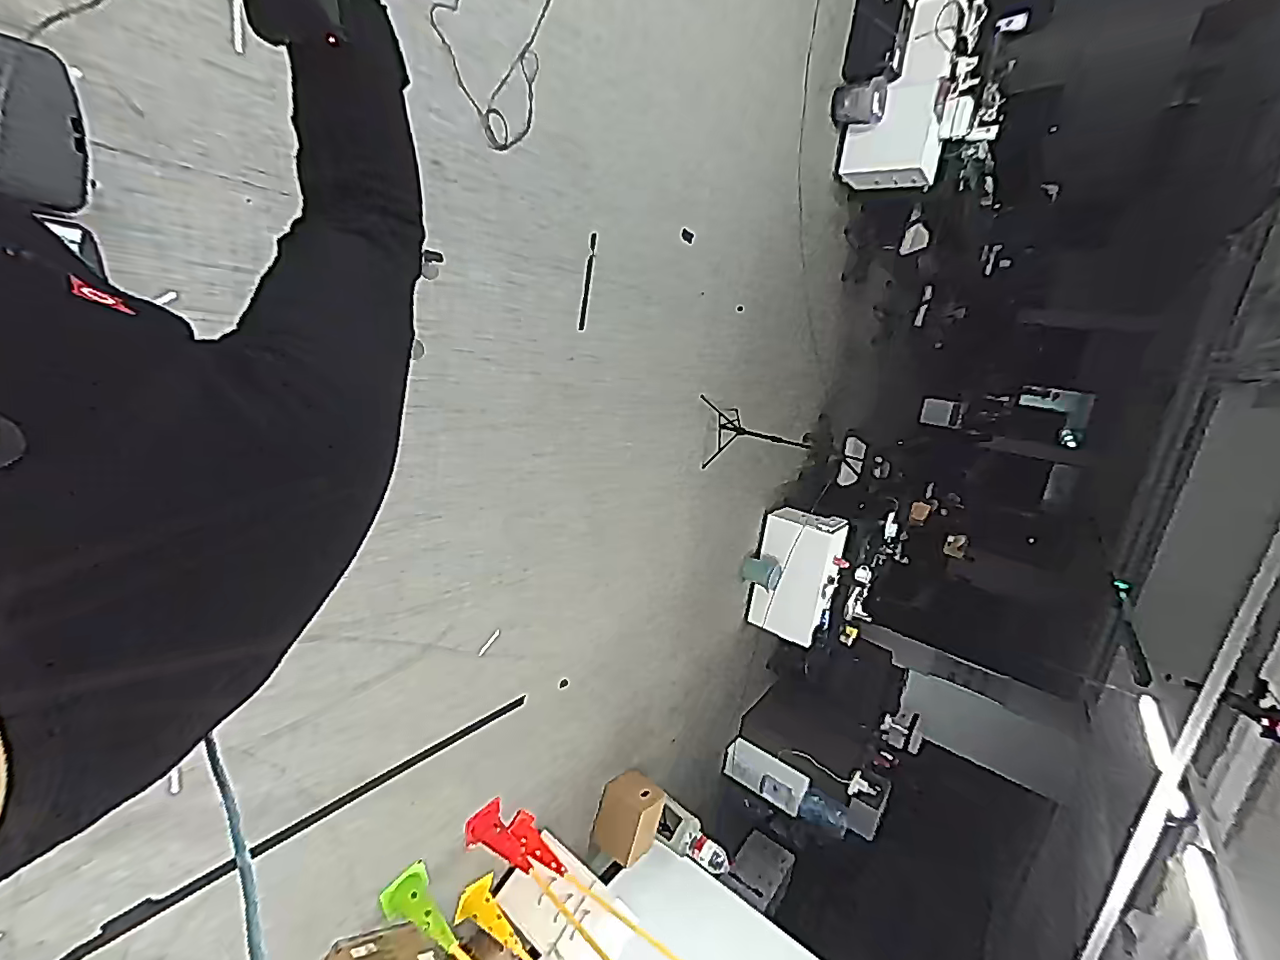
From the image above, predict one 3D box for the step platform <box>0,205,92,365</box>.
[{"bbox_3d":[-1.337,-0.331,0.839,0.684,0.204,0.286,-13,115,-50],"label":"step platform"}]
